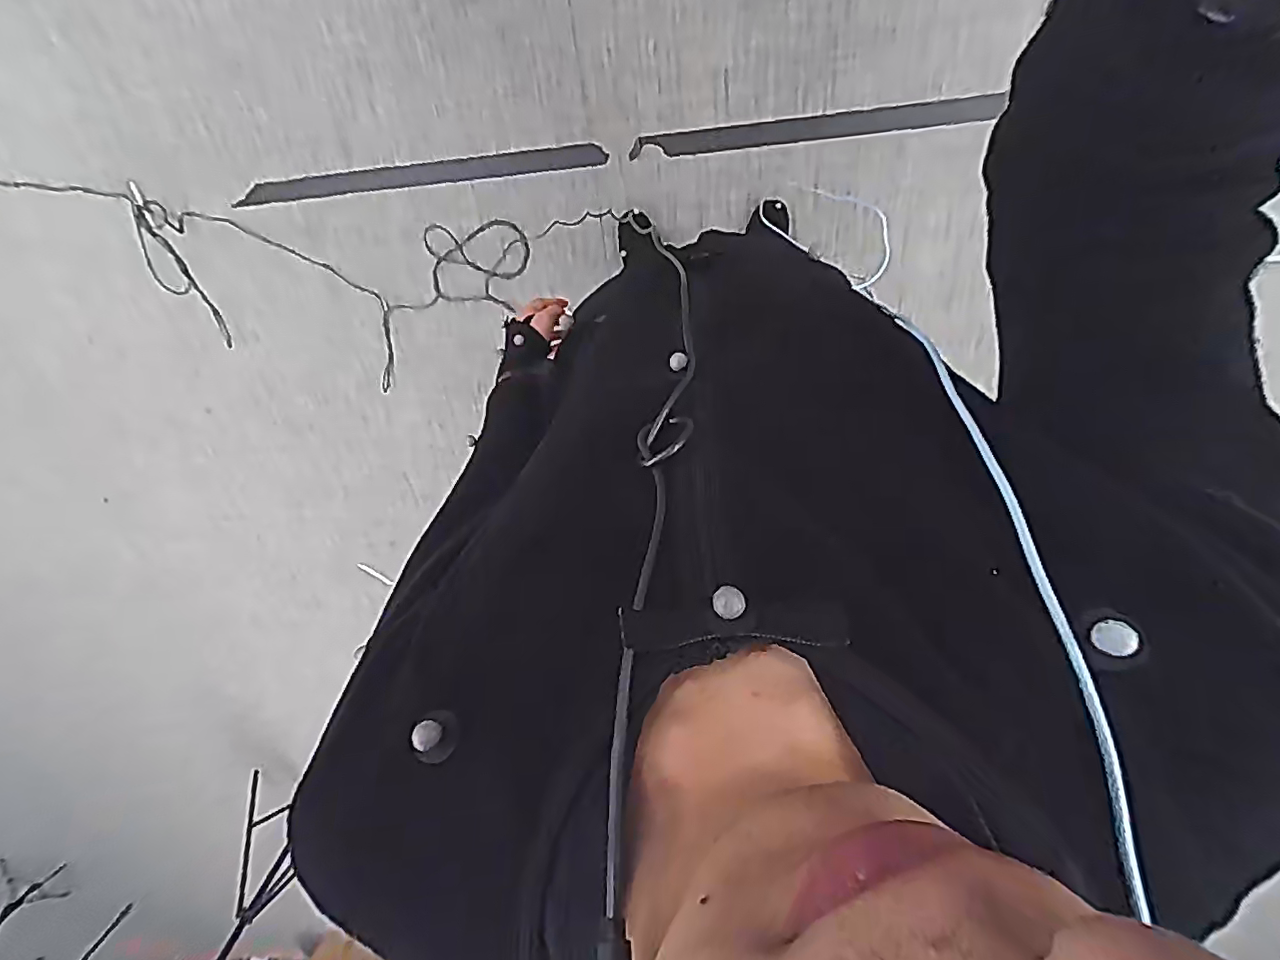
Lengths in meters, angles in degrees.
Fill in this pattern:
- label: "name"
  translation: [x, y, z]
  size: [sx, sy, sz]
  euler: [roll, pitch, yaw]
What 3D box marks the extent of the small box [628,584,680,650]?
- label: "small box"
  translation: [0.055, 0.495, 1.979]
  size: [0.168, 0.176, 0.179]
  euler: [-6, 120, 9]
